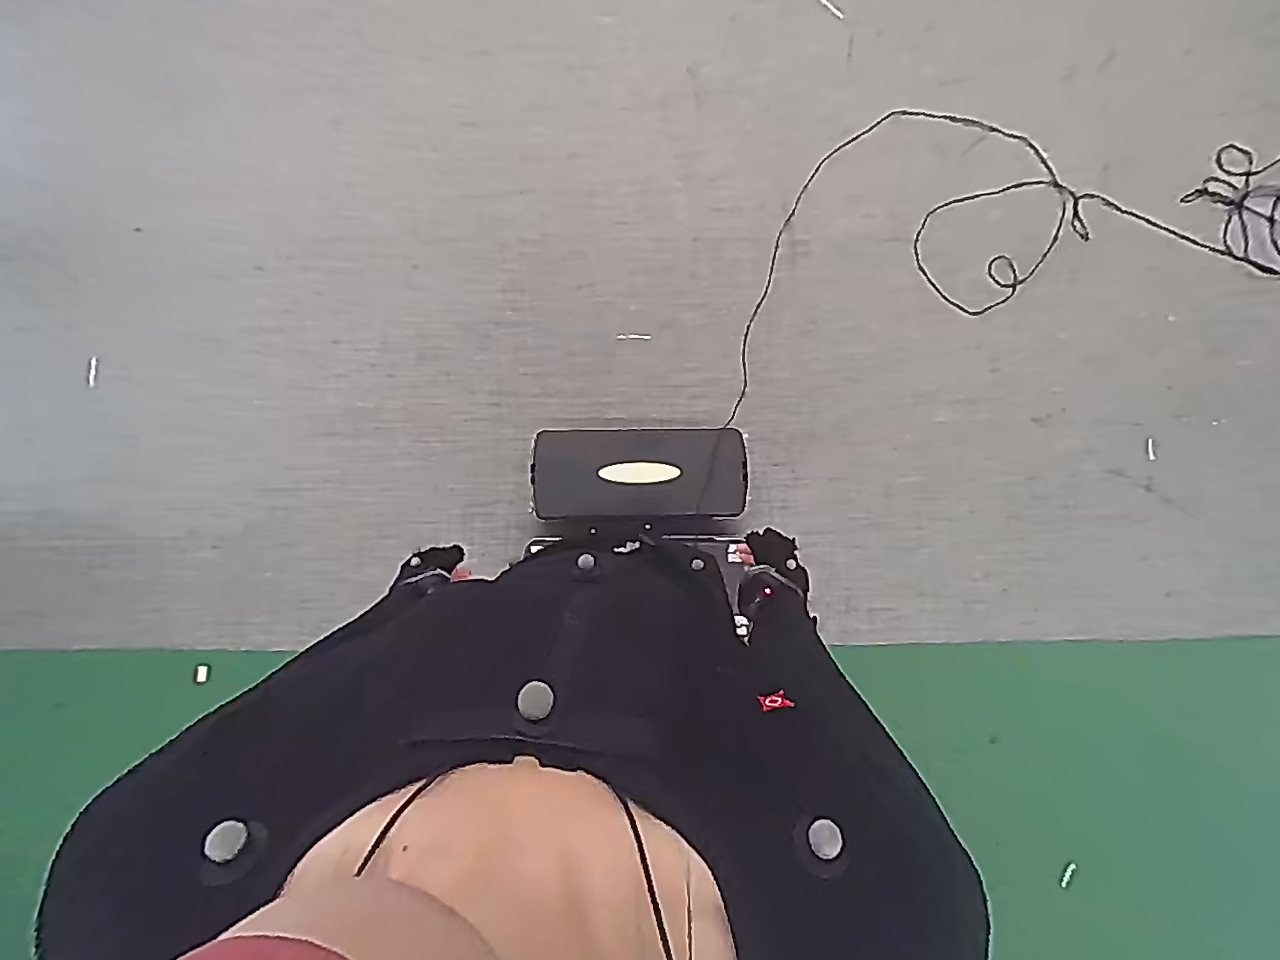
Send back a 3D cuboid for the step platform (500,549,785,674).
[{"bbox_3d":[0.006,0.326,1.387,0.684,0.204,0.286,-1,83,-2],"label":"step platform"}]
